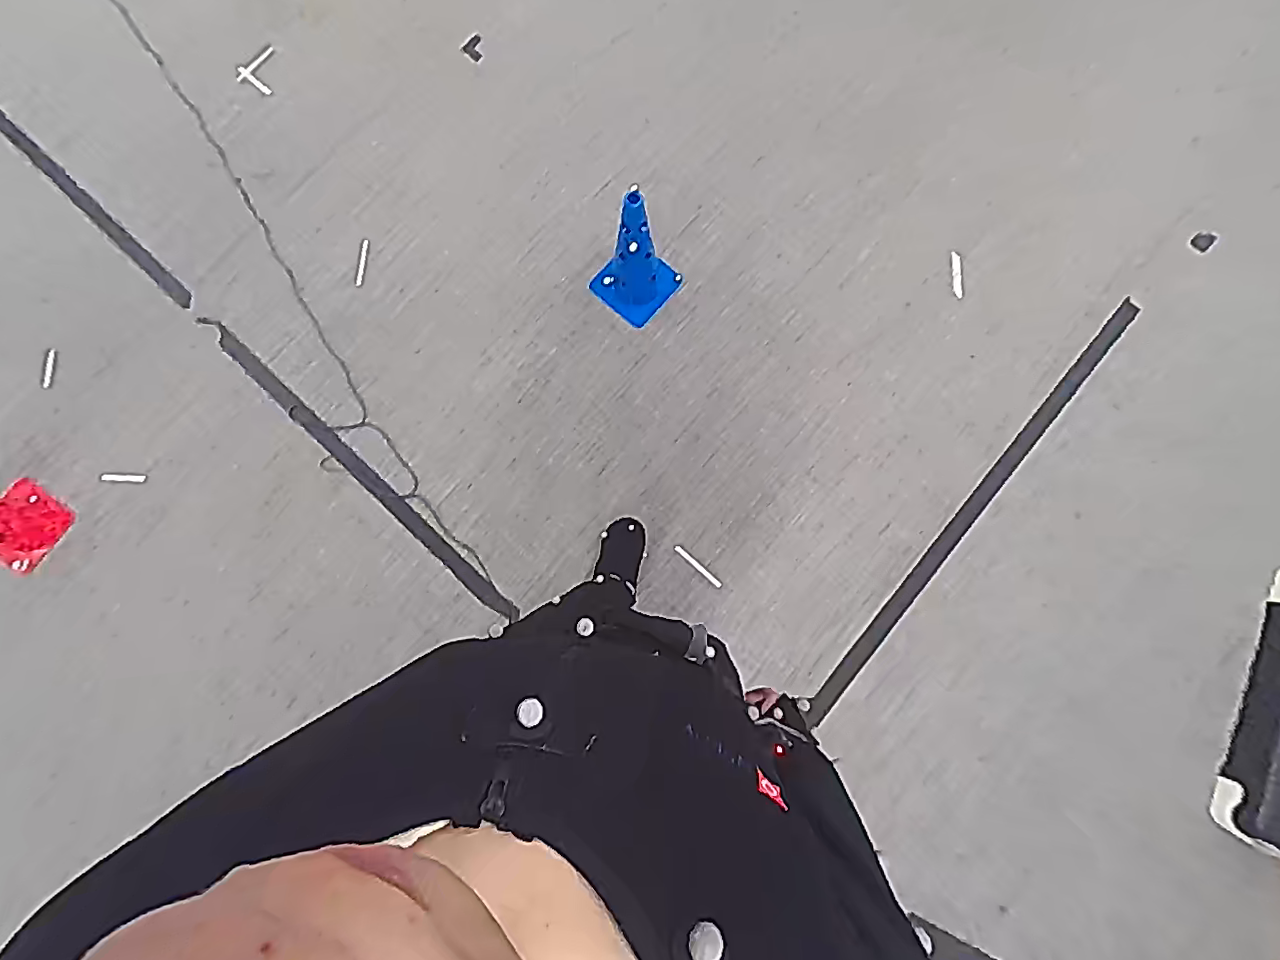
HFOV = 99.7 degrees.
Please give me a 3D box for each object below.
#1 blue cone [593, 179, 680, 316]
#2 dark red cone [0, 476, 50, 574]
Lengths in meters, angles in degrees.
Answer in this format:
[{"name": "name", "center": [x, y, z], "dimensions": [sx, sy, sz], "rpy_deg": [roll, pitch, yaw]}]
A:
[{"name": "blue cone", "center": [-0.013, -0.588, 1.333], "dimensions": [0.193, 0.380, 0.192], "rpy_deg": [42, 83, 6]}, {"name": "dark red cone", "center": [-1.634, 0.087, 1.222], "dimensions": [0.202, 0.394, 0.201], "rpy_deg": [34, 82, 5]}]
